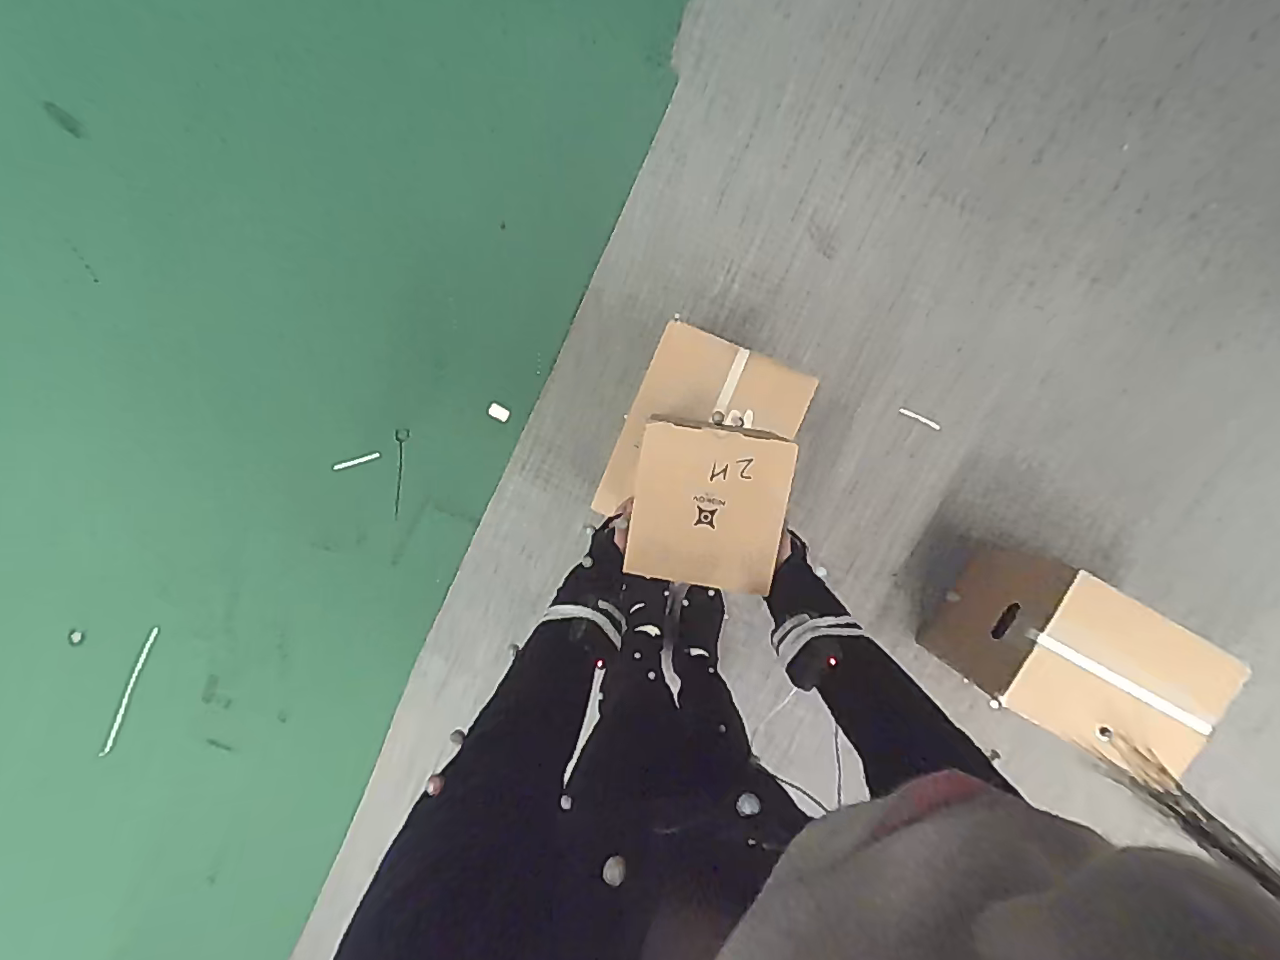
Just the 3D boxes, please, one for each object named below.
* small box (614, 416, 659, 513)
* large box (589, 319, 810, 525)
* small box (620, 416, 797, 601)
[{"bbox_3d":[0.069,-0.003,0.951,0.179,0.176,0.168,22,92,1],"label":"small box"},{"bbox_3d":[0.115,-0.073,1.192,0.320,0.320,0.408,23,92,-1],"label":"large box"},{"bbox_3d":[0.078,0.023,0.661,0.168,0.176,0.179,10,99,2],"label":"small box"}]
